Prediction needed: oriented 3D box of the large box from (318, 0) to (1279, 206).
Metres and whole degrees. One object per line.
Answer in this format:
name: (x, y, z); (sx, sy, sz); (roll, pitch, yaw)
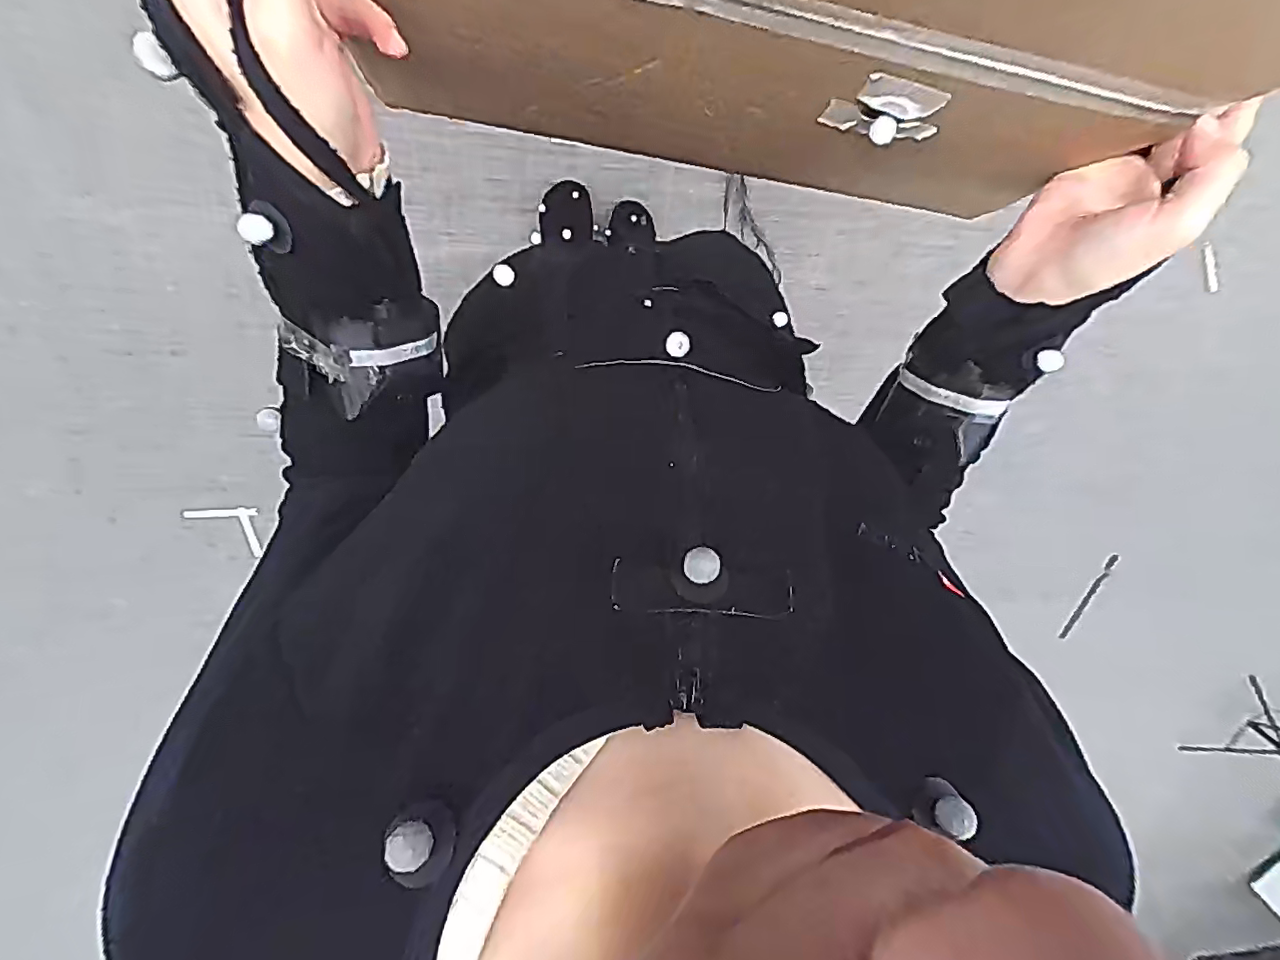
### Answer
large box: (0.073, -0.339, 0.195); (0.408, 0.320, 0.320); (4, 99, -9)
